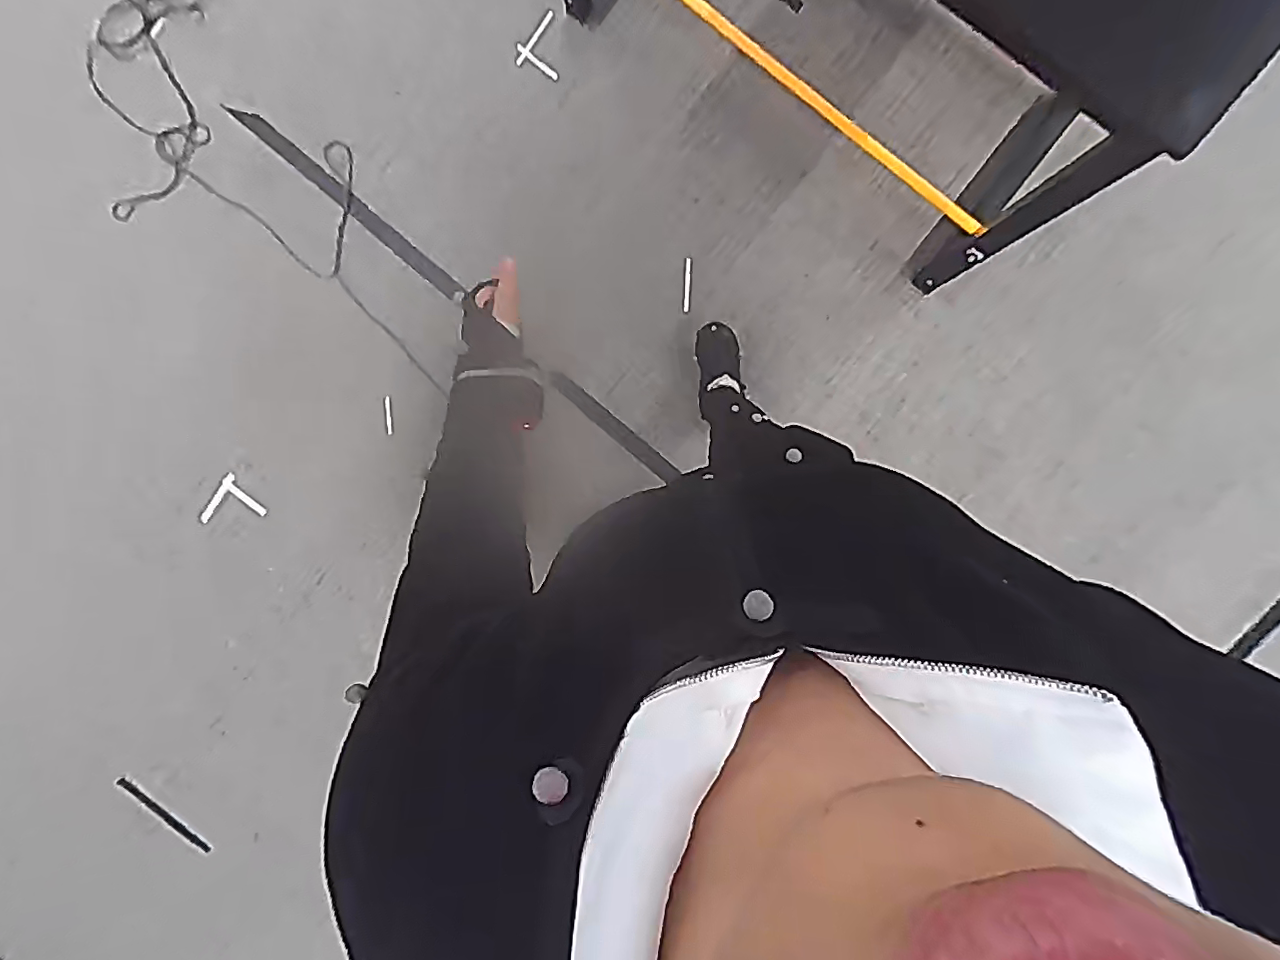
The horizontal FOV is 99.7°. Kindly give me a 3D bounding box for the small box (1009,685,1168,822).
[{"bbox_3d":[0.983,0.596,1.204,0.168,0.176,0.179,41,97,0],"label":"small box"}]

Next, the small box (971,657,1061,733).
[{"bbox_3d":[0.991,0.577,1.369,0.179,0.176,0.168,41,96,1],"label":"small box"}]
